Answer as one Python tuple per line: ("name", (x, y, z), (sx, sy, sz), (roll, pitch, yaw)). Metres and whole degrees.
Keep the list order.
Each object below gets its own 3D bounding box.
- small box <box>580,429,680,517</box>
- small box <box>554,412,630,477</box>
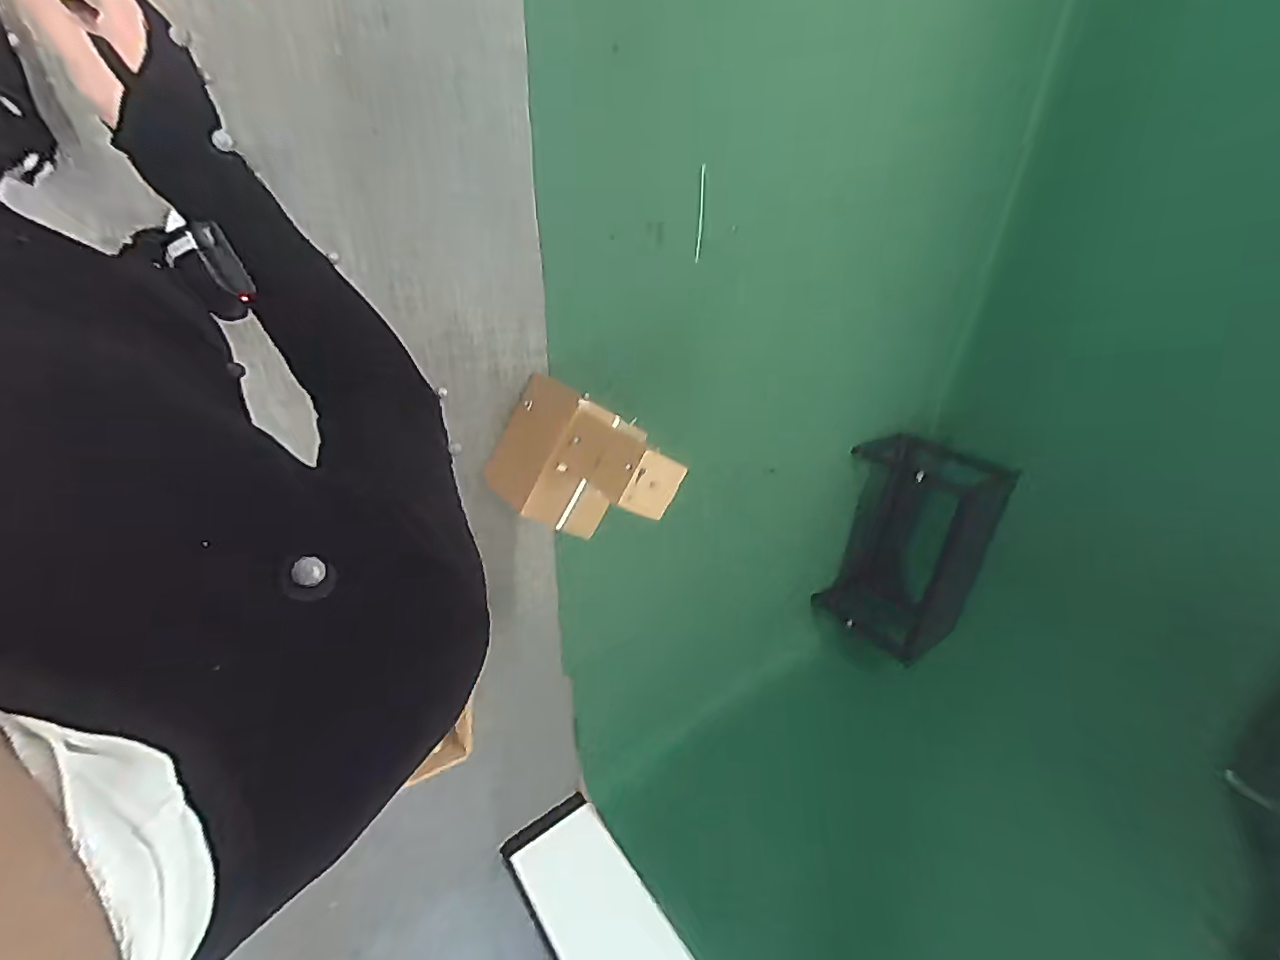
("small box", (-0.030, -0.021, 1.489), (0.179, 0.176, 0.168), (23, 97, -46))
("small box", (-0.122, -0.084, 1.610), (0.179, 0.176, 0.168), (24, 96, -45))
